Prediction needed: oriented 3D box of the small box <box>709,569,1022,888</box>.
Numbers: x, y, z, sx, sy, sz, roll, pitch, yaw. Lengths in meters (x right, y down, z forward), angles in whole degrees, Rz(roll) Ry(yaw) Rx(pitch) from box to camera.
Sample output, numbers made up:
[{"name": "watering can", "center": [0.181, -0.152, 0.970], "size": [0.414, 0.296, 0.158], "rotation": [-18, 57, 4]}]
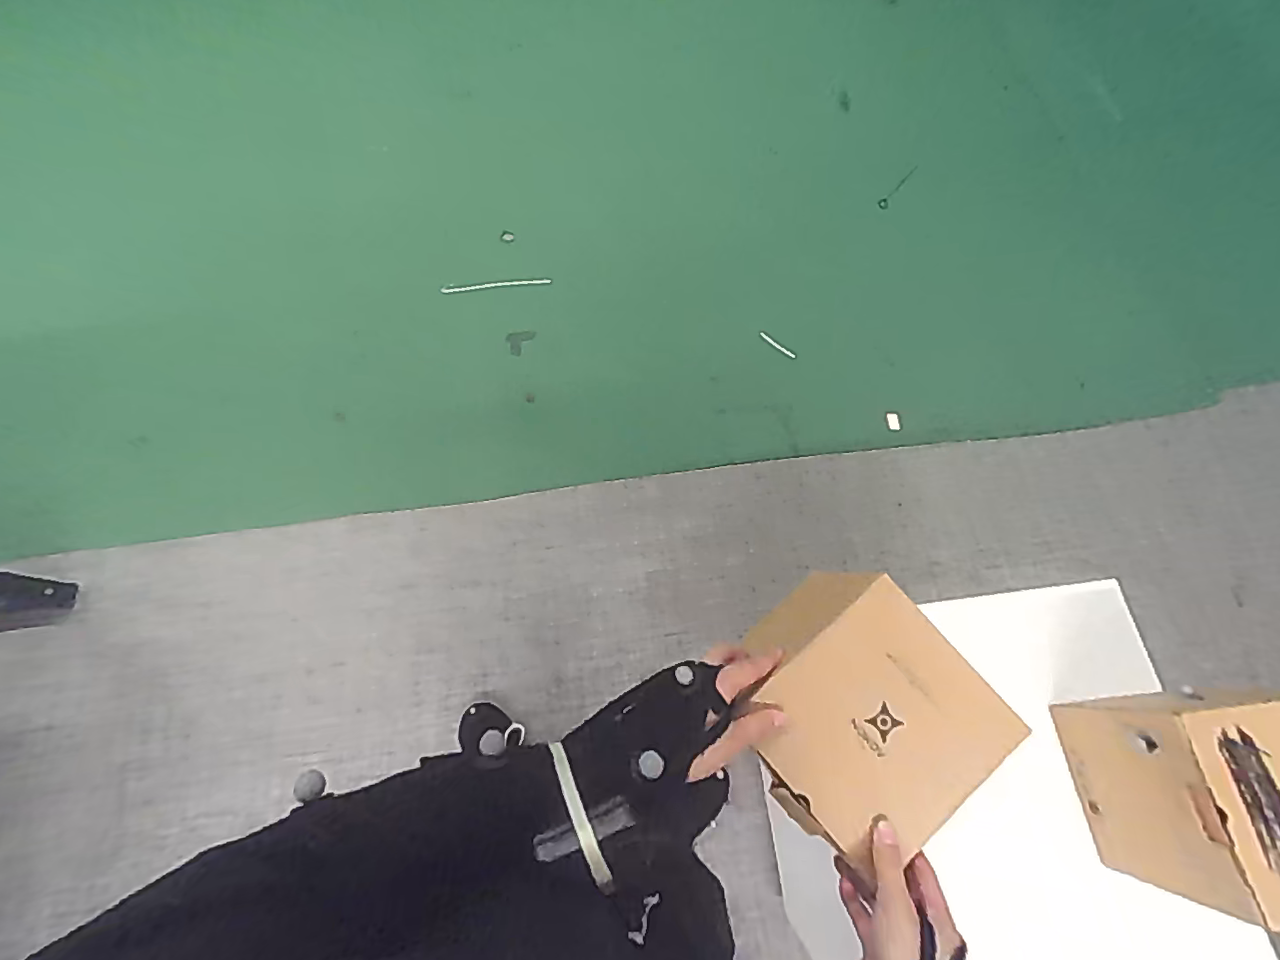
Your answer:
[{"name": "small box", "center": [0.179, 0.201, 0.495], "size": [0.179, 0.176, 0.168], "rotation": [-41, 84, -8]}]
